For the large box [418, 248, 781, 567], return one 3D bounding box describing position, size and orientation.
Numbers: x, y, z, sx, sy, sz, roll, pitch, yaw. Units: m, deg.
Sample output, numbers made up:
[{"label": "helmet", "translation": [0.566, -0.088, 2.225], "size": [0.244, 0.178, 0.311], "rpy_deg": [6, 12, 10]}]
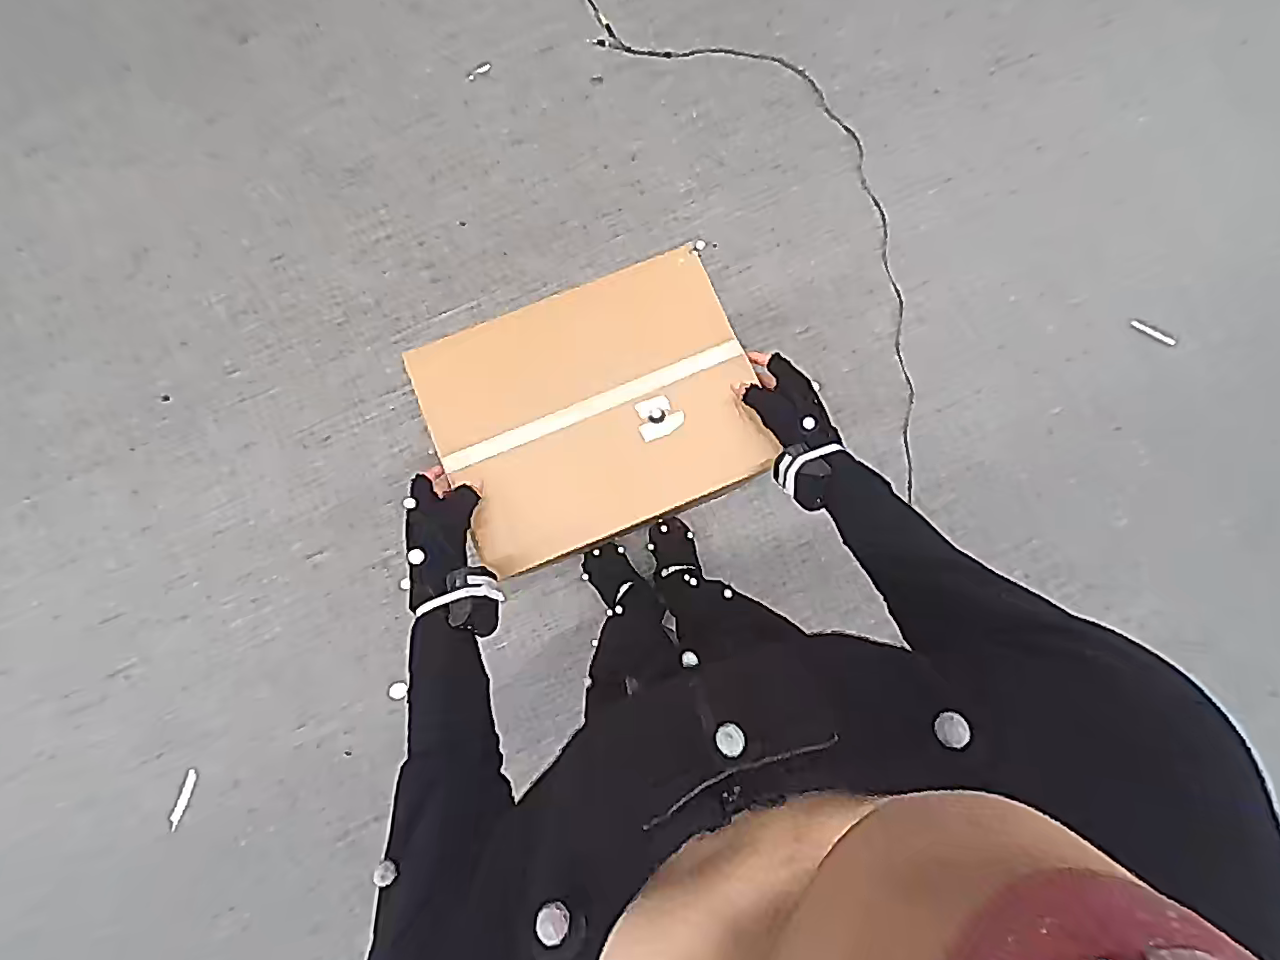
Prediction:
[{"label": "large box", "translation": [-0.058, -0.080, 0.848], "size": [0.408, 0.320, 0.320], "rpy_deg": [-22, 83, -4]}]
